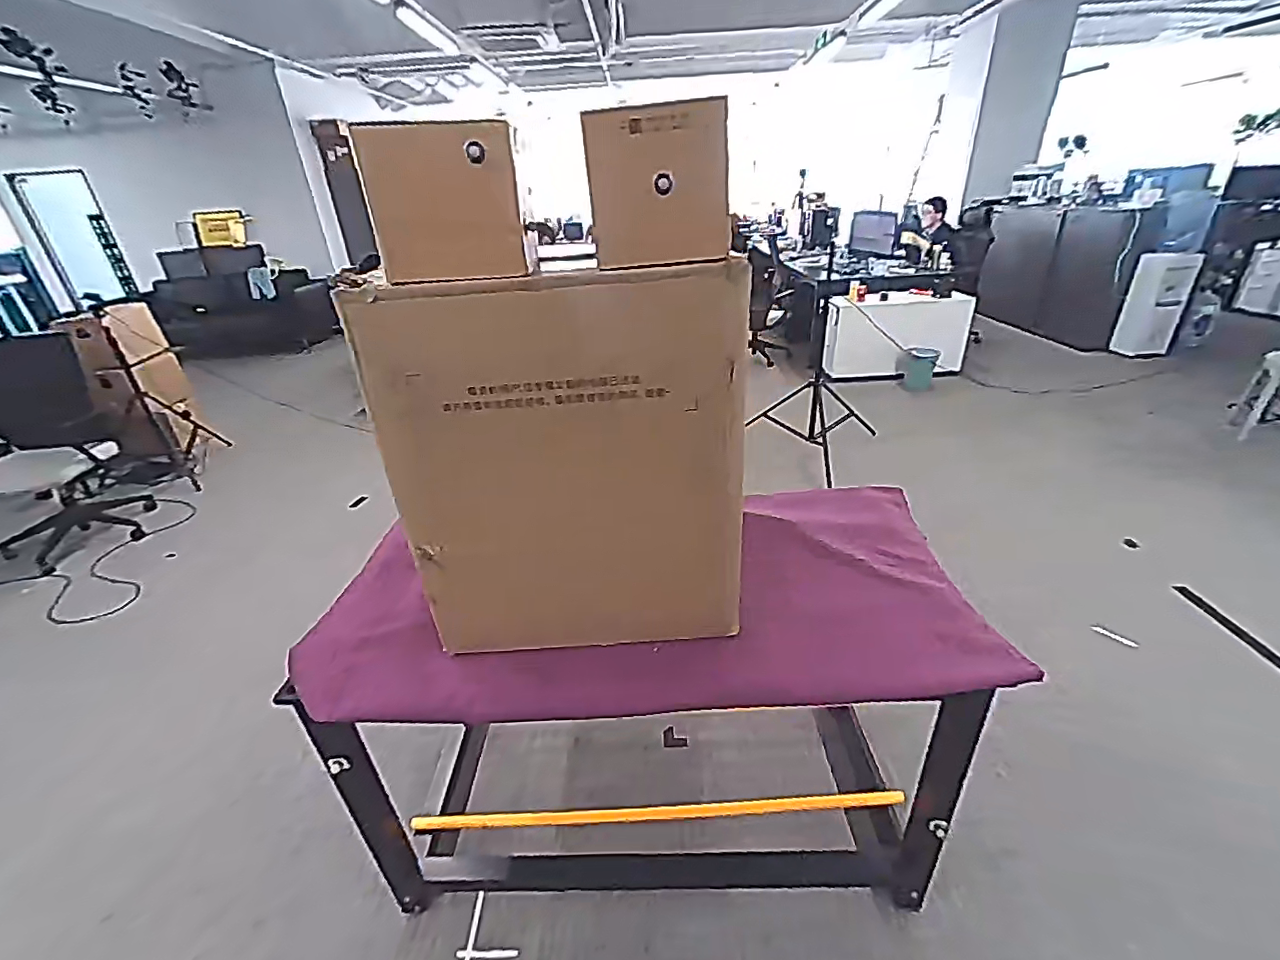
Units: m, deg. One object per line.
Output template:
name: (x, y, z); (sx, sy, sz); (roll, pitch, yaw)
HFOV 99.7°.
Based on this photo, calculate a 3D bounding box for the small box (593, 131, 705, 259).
small box: (0.019, -0.465, 0.896); (0.168, 0.176, 0.179); (-4, 28, 3)
